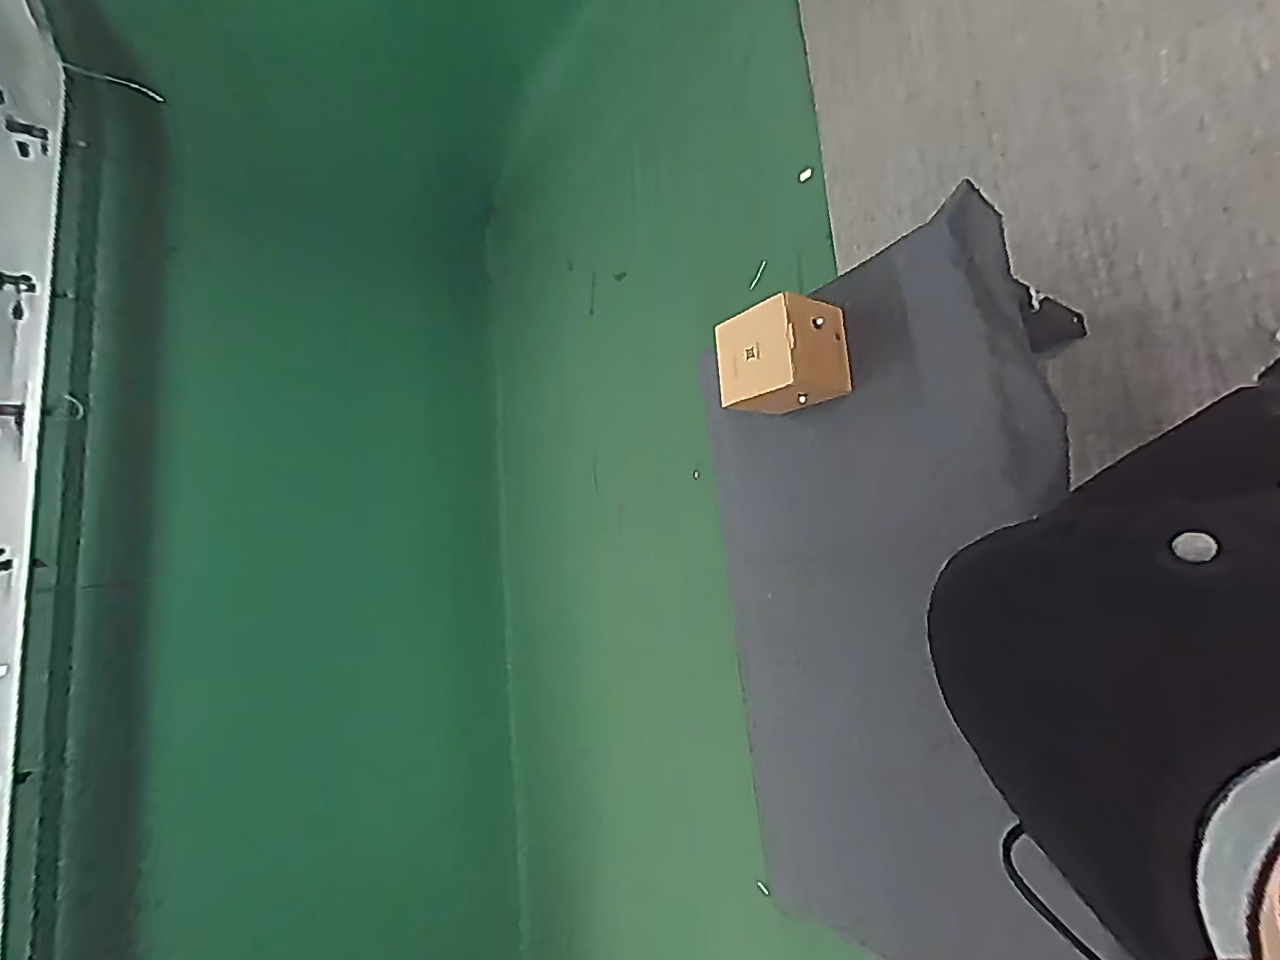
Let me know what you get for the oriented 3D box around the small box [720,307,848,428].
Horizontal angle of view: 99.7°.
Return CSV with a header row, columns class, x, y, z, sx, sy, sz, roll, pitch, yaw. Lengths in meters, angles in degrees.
class,x,y,z,sx,sy,sz,roll,pitch,yaw
small box,0.276,-0.203,1.028,0.179,0.176,0.168,-15,74,54
